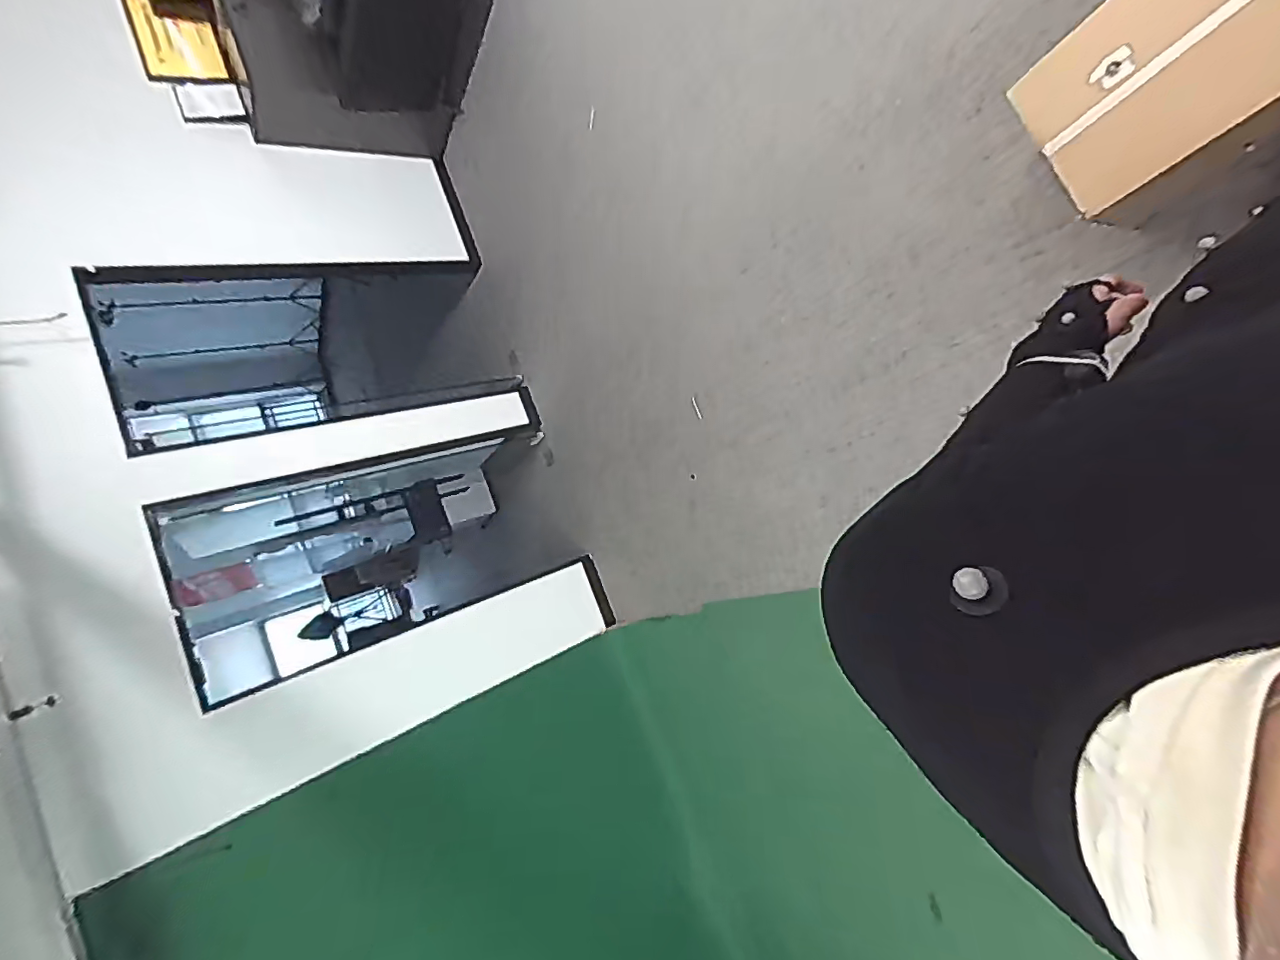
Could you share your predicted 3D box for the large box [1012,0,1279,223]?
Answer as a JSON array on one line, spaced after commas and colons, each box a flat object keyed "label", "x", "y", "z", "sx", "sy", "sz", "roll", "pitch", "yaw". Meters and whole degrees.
[{"label": "large box", "x": 1.005, "y": -0.736, "z": 0.970, "sx": 0.408, "sy": 0.320, "sz": 0.320, "roll": -39, "pitch": 70, "yaw": 54}]
